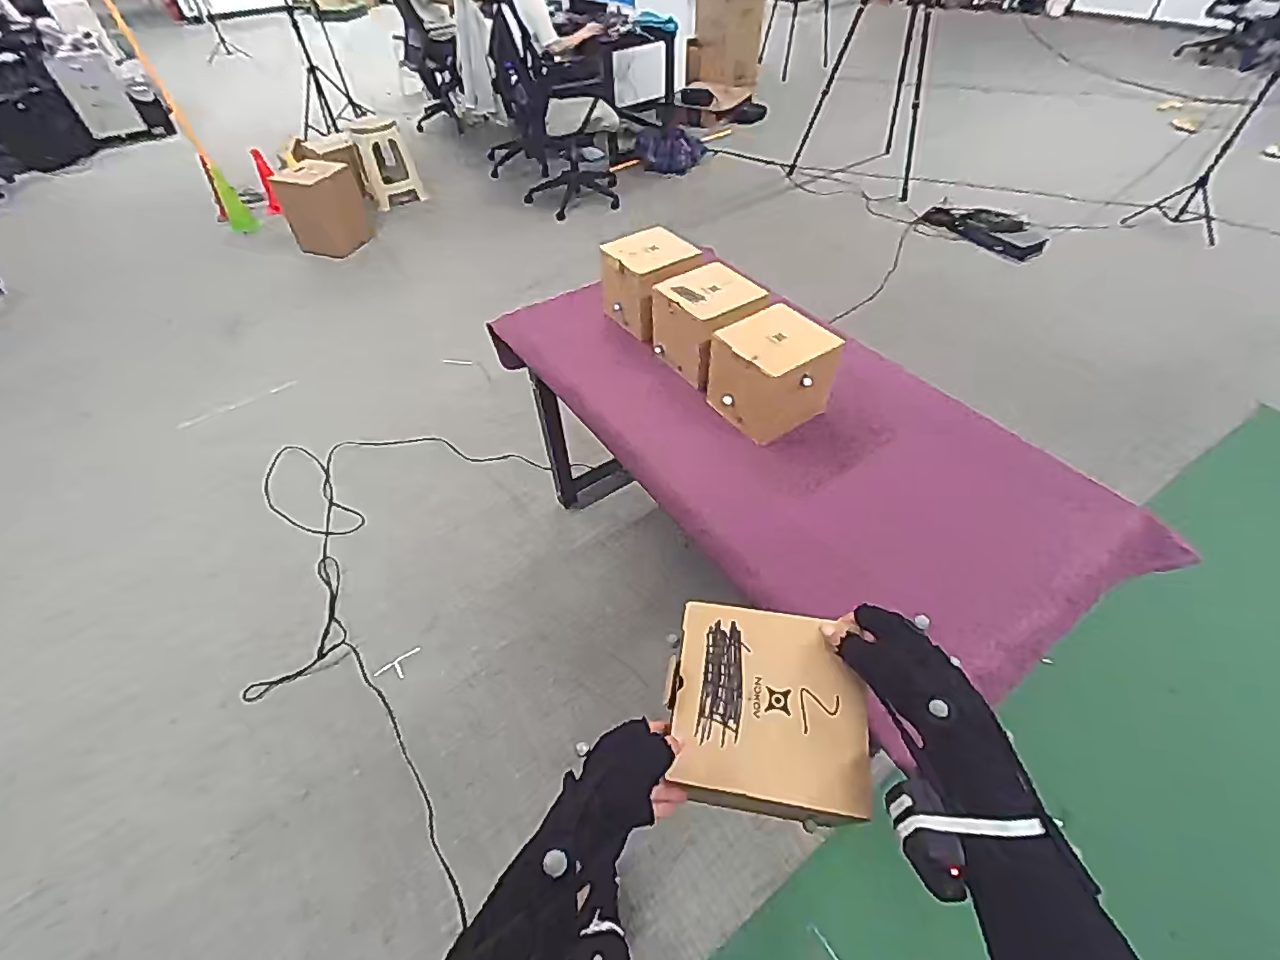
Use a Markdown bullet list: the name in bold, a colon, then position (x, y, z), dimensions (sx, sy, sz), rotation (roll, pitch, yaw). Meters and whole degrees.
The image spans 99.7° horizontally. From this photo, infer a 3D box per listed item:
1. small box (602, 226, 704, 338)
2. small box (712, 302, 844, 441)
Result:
- **small box**: position (0.029, -0.466, 1.275), dimensions (0.179, 0.176, 0.168), rotation (-28, 53, -20)
- **small box**: position (0.255, -0.208, 1.042), dimensions (0.179, 0.176, 0.168), rotation (-28, 53, -19)
